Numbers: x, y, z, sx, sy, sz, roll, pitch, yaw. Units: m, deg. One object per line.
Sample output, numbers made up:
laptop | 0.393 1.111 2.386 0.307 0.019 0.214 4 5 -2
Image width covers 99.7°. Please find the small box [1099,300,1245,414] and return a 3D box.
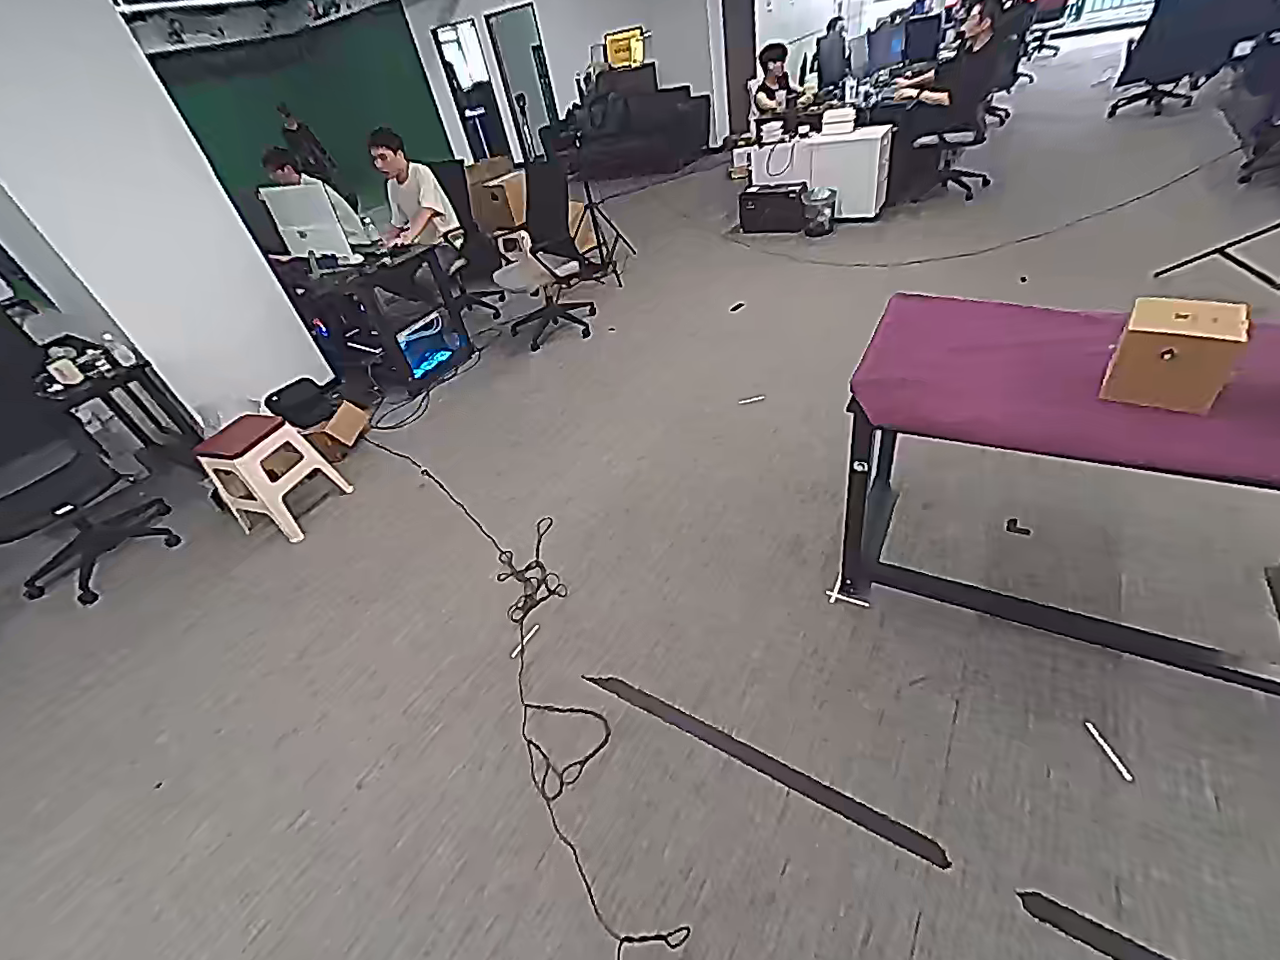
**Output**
small box | 1.109 -0.259 1.137 0.179 0.176 0.168 21 50 34
